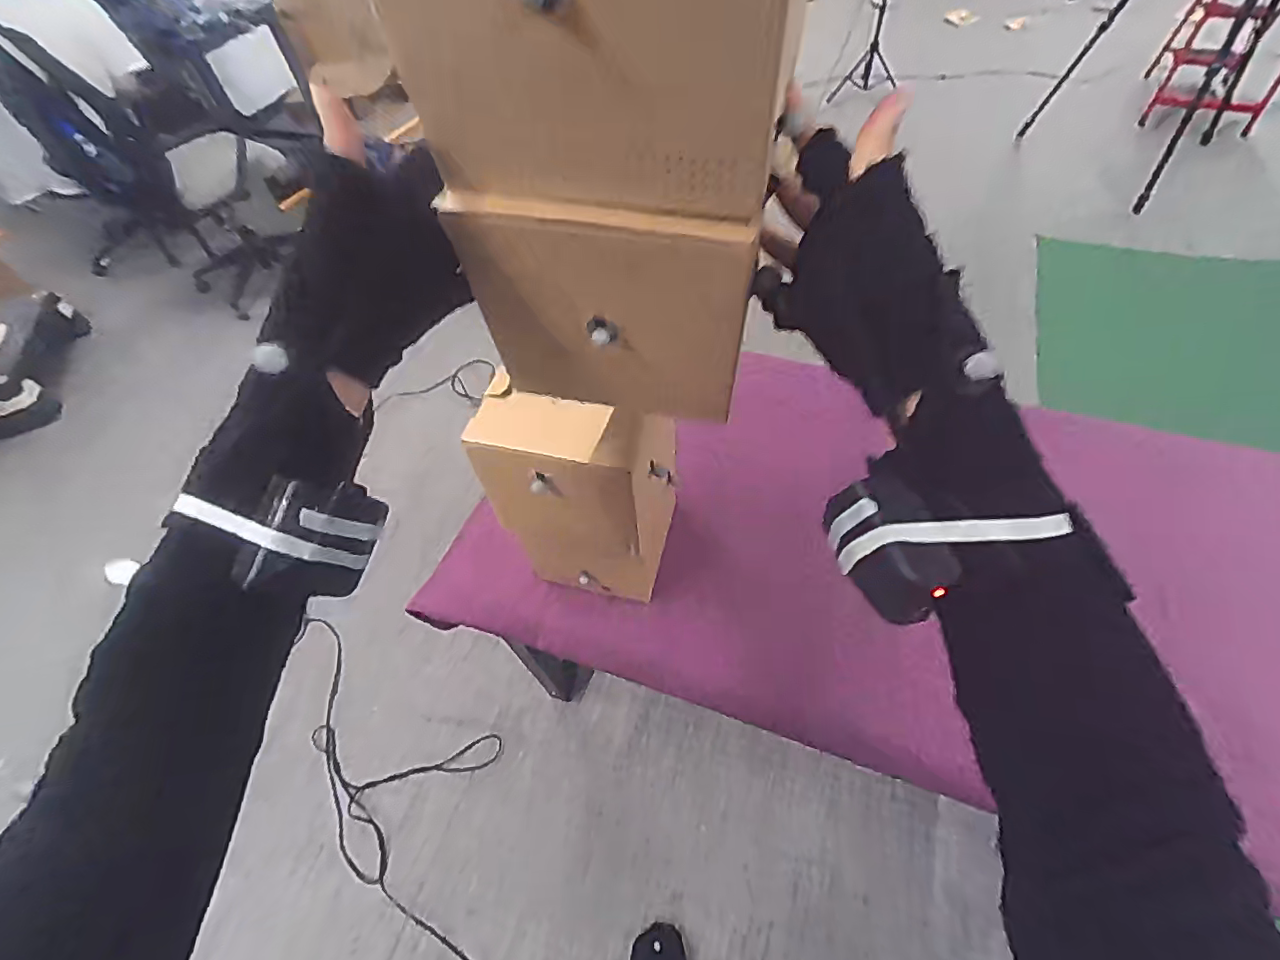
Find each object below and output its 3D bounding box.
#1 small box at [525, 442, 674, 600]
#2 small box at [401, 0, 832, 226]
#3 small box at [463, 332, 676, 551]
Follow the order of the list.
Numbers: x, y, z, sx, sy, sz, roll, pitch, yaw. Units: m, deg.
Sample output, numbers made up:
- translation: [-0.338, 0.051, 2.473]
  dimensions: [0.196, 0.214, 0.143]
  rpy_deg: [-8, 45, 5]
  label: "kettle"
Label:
- translation: [-0.053, 0.041, 0.754]
  dimensions: [0.168, 0.176, 0.179]
  rpy_deg: [11, 56, 11]
  label: "small box"
- translation: [0.003, -0.247, 0.250]
  dimensions: [0.179, 0.176, 0.168]
  rpy_deg: [12, 65, 11]
  label: "small box"
- translation: [-0.062, -0.037, 0.611]
  dimensions: [0.179, 0.176, 0.168]
  rpy_deg: [11, 57, 12]
  label: "small box"
